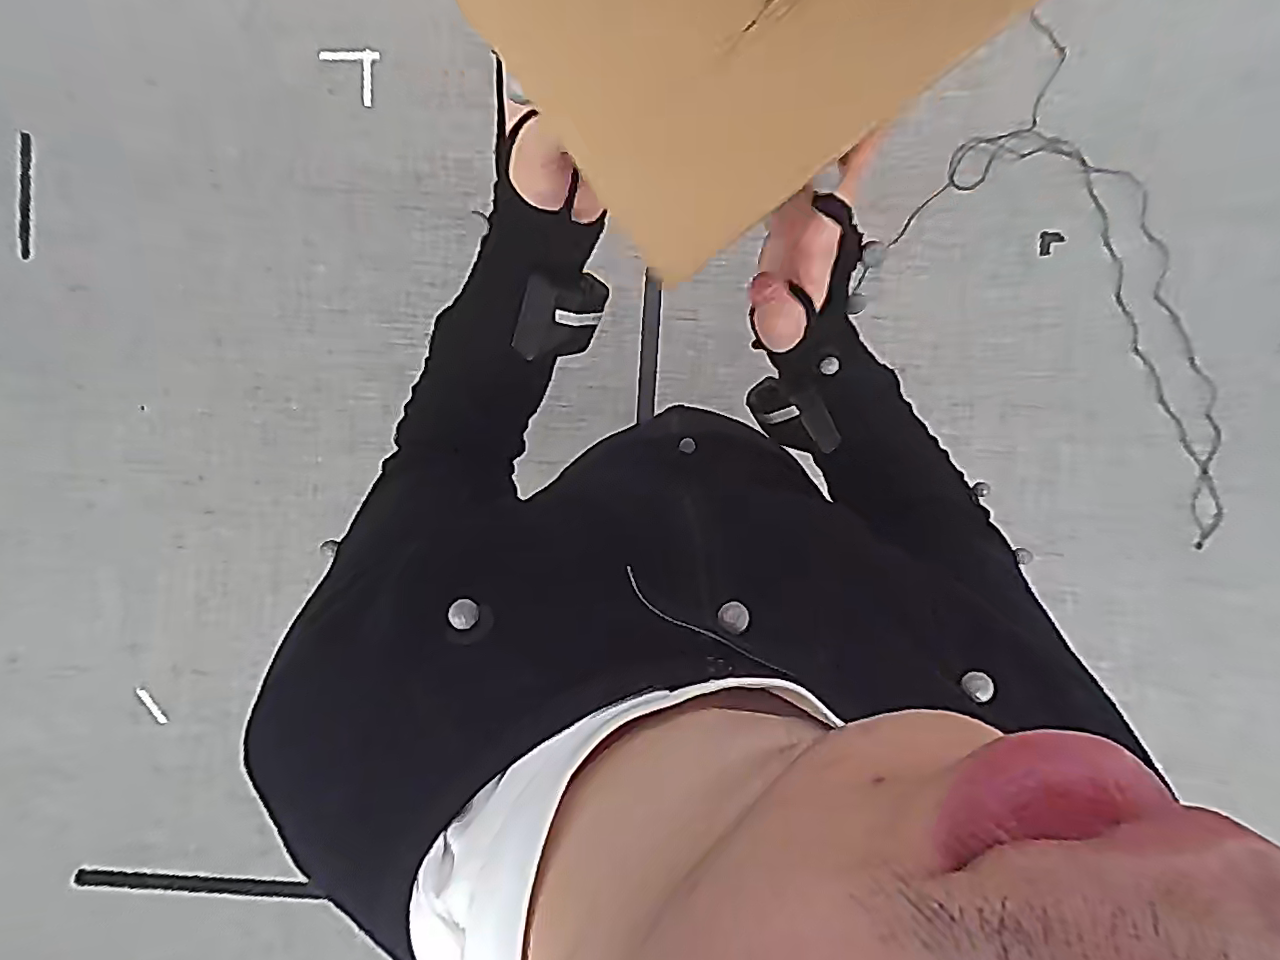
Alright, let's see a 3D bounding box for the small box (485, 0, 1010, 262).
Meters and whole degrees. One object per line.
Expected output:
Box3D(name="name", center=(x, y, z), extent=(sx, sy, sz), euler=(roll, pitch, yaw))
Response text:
Box3D(name="small box", center=(0.038, -0.219, 0.211), extent=(0.168, 0.176, 0.179), euler=(-34, 108, 27))
